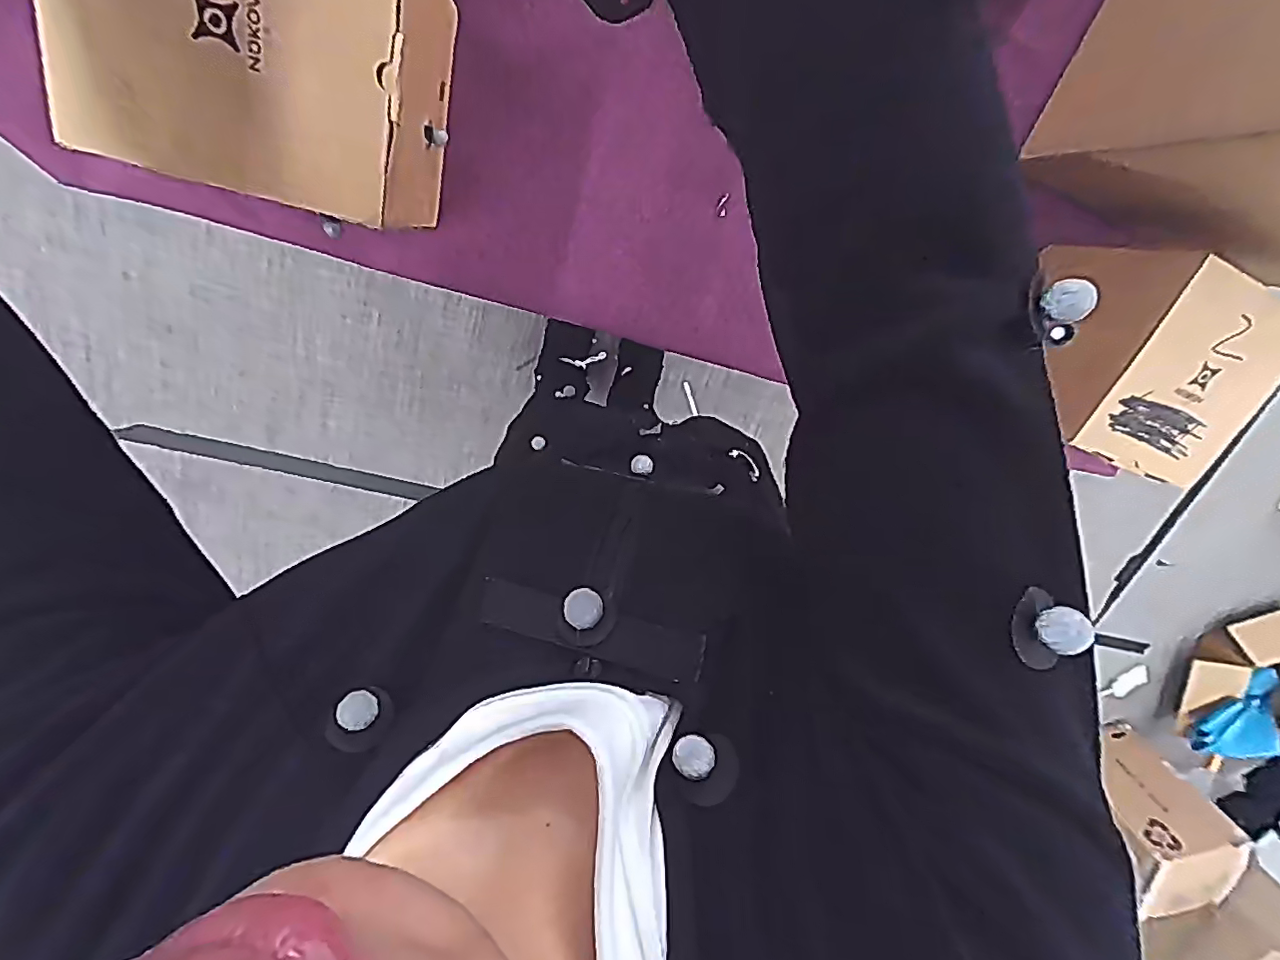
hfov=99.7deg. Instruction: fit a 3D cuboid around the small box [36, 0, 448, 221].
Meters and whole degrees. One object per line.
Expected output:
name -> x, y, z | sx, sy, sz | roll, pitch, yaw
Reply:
small box -> -0.240, -0.283, 0.367 | 0.179, 0.176, 0.168 | 9, 112, -15
